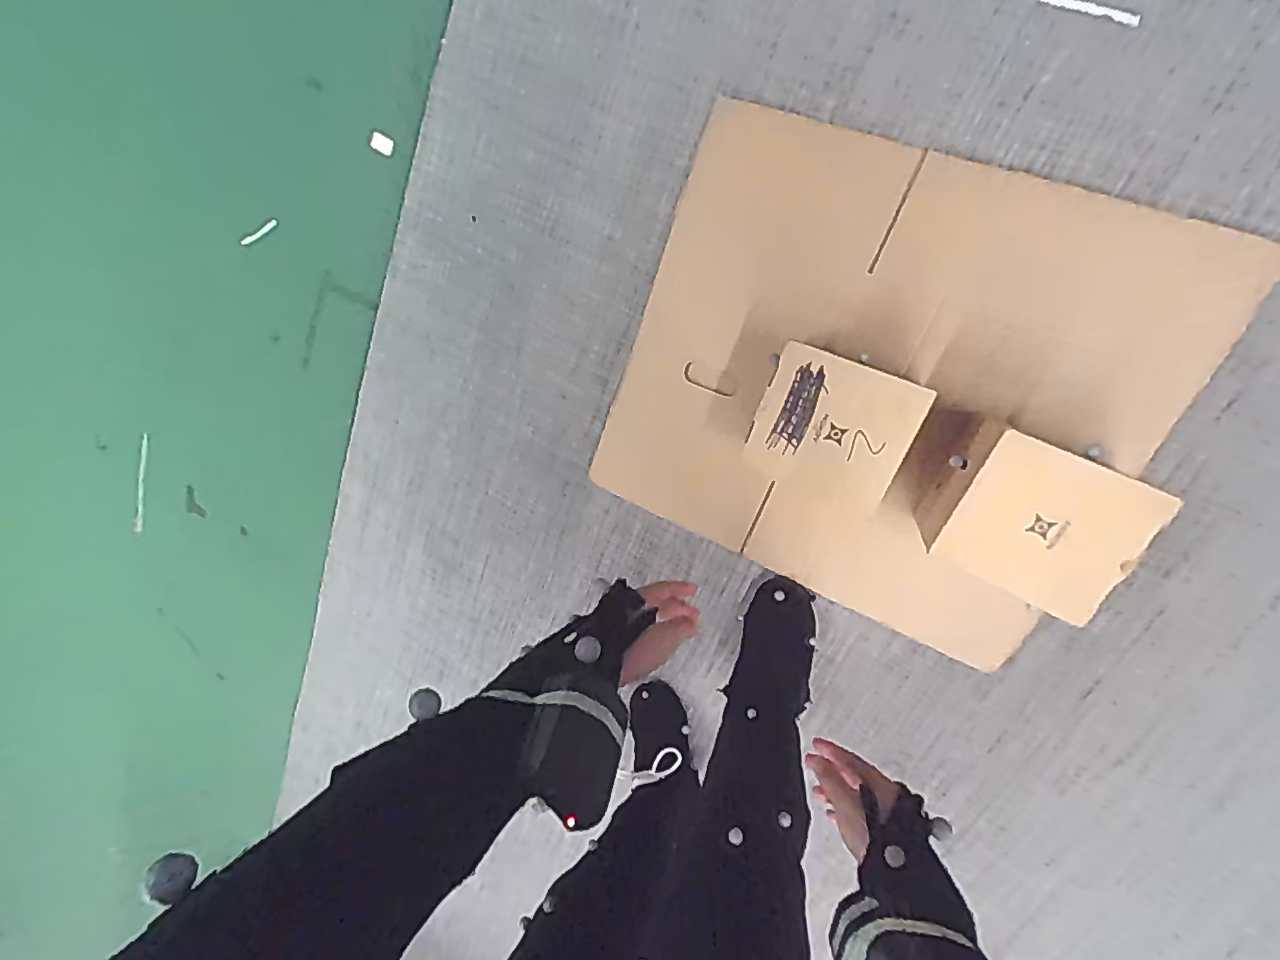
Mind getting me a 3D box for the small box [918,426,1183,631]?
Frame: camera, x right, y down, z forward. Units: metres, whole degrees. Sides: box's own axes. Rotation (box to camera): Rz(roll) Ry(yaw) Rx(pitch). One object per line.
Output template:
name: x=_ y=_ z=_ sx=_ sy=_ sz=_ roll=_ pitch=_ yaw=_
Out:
small box: x=0.462 y=0.042 z=0.652 sx=0.179 sy=0.176 sz=0.168 roll=27 pitch=109 yaw=14
